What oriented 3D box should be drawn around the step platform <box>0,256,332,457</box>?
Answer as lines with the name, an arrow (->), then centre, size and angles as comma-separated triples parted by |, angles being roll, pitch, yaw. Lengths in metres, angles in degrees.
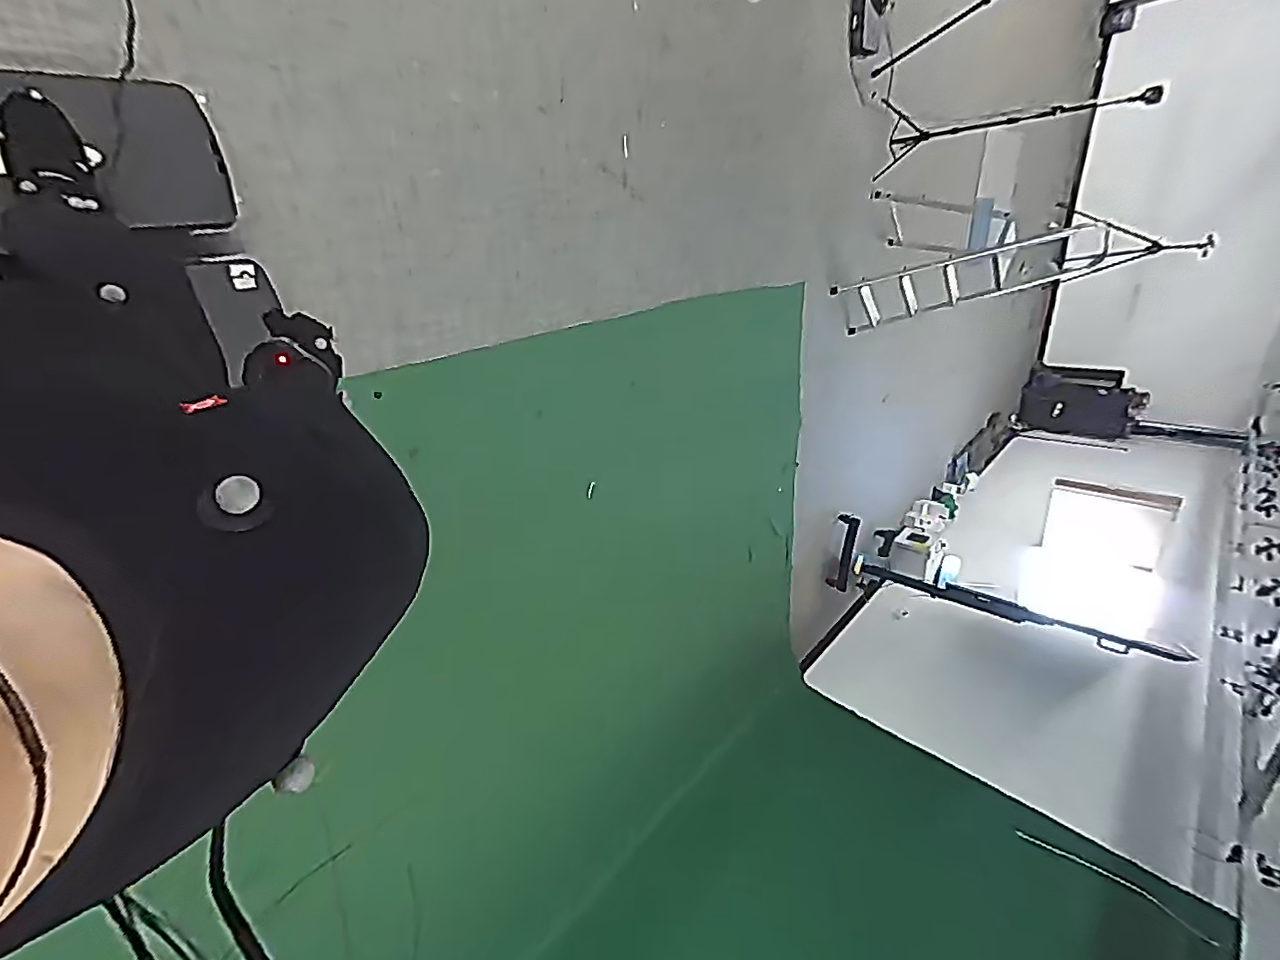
step platform -> -0.977, -0.228, 0.992 | 0.684, 0.204, 0.286 | -28, 122, -40
